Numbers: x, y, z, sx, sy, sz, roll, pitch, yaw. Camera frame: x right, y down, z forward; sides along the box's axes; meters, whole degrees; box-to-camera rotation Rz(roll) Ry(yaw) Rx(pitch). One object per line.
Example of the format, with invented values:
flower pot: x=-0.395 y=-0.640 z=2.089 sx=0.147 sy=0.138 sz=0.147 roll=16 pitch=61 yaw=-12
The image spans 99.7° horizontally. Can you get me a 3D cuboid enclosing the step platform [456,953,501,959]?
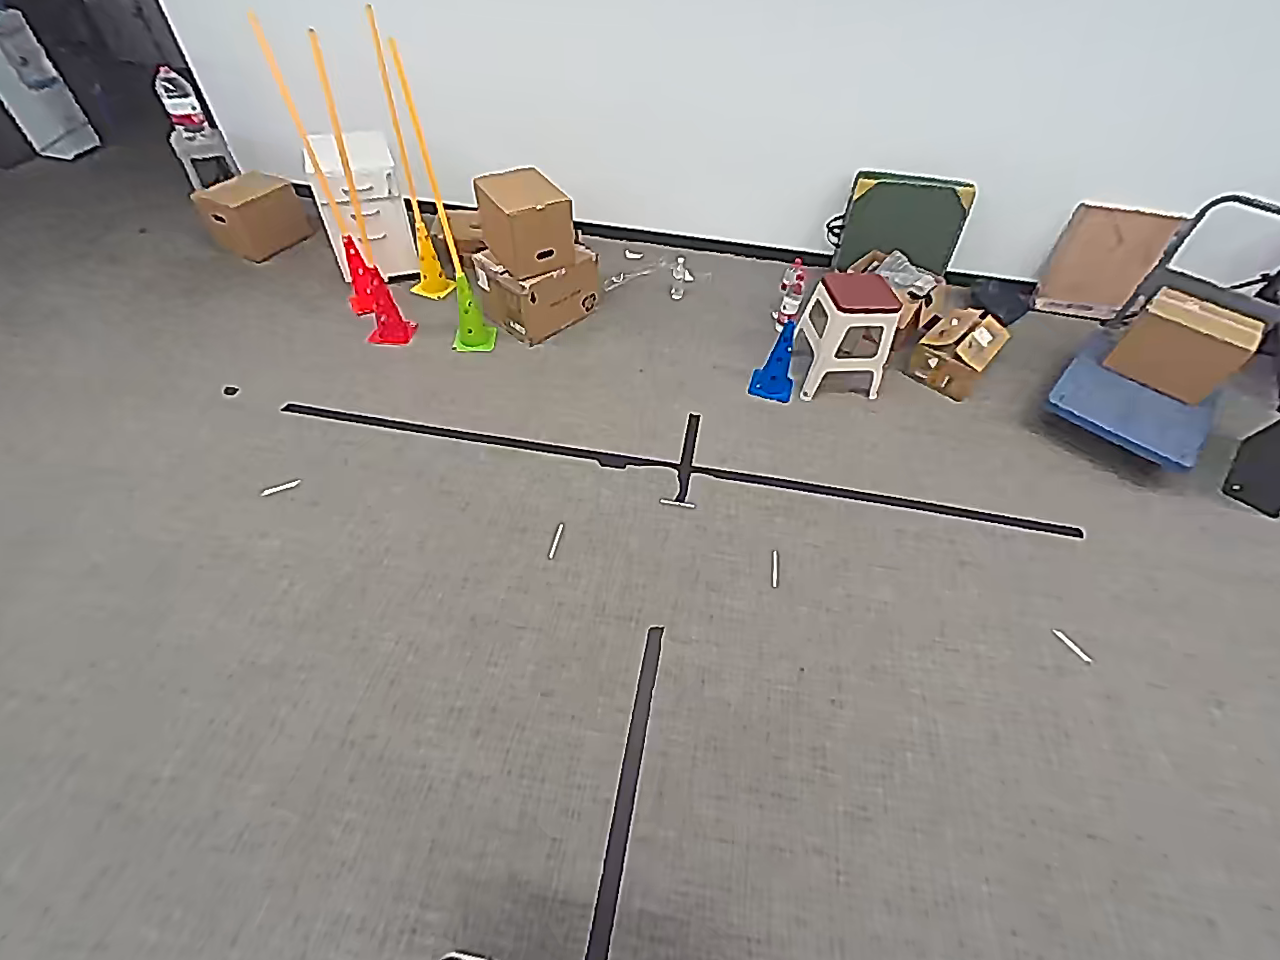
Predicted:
step platform: x=-0.096 y=1.176 z=1.061 sx=0.684 sy=0.204 sz=0.286 roll=9 pitch=49 yaw=2
